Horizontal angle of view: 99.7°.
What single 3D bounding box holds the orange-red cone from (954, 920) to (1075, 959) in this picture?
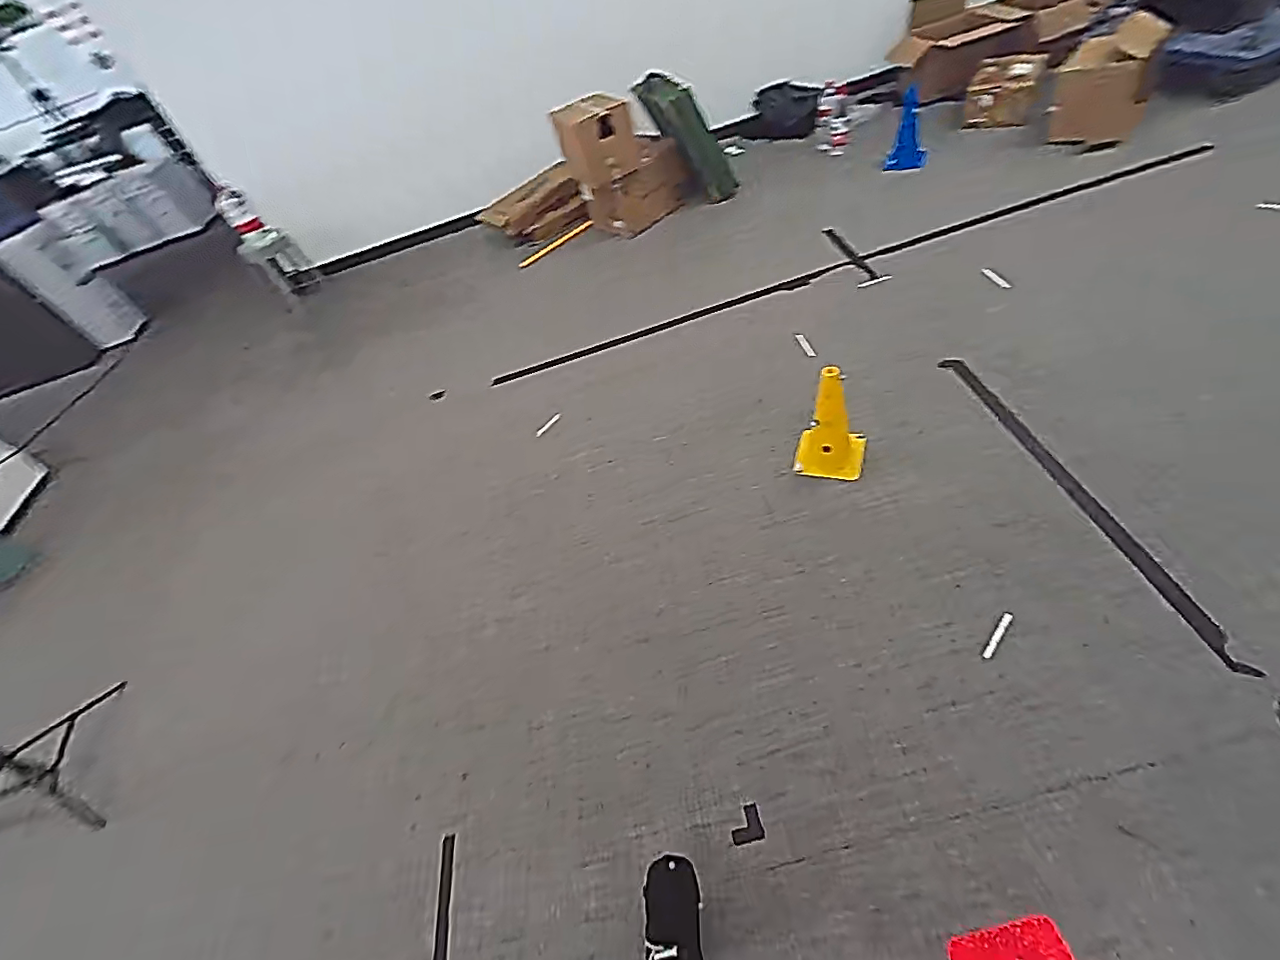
[{"bbox_3d":[0.635,0.783,0.800,0.198,0.360,0.199,-17,46,2],"label":"orange-red cone"}]
